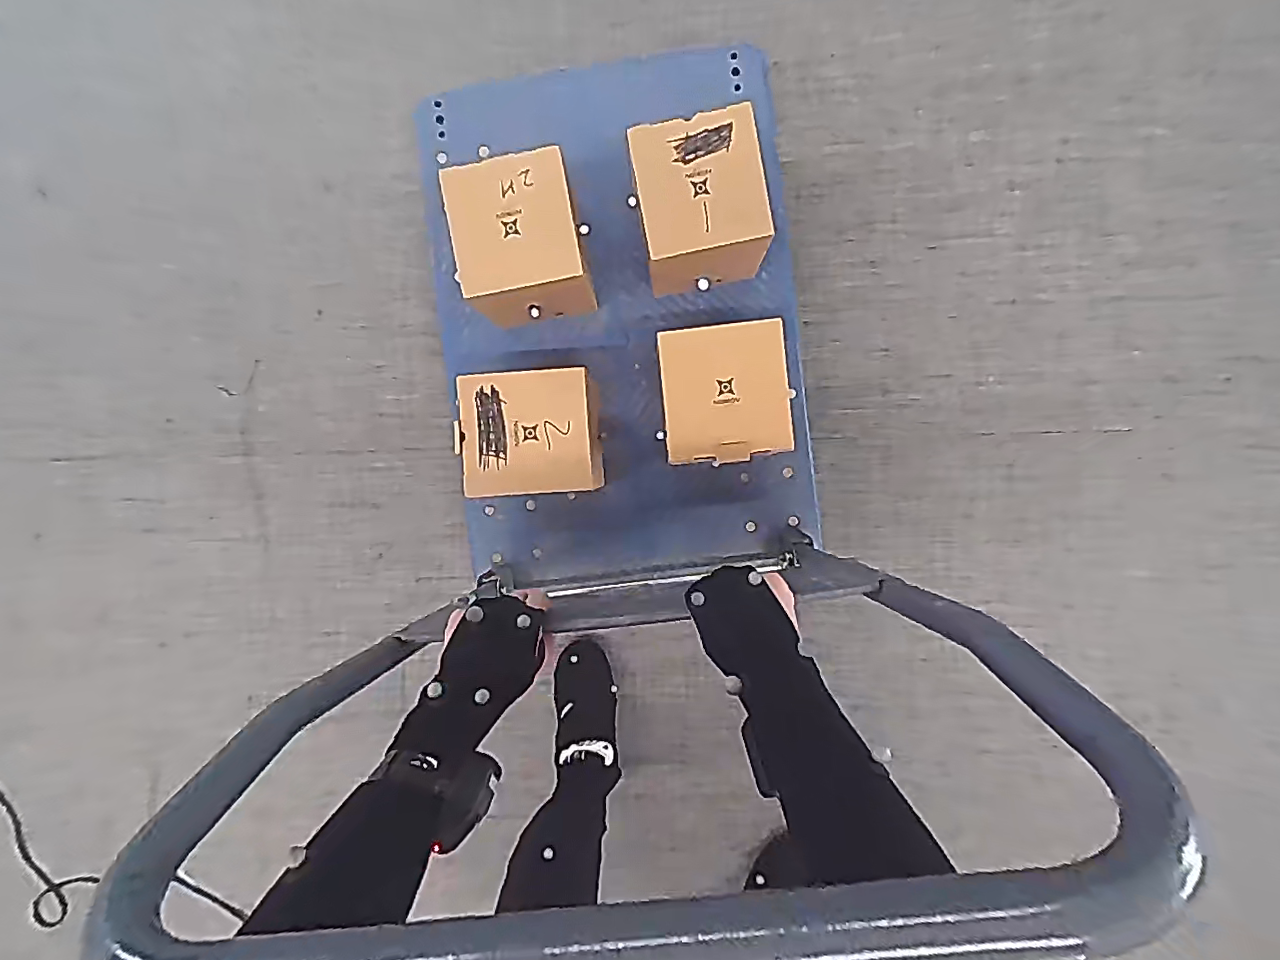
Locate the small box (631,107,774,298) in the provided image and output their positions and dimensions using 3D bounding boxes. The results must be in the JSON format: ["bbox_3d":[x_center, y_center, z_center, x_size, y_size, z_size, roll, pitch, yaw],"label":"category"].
[{"bbox_3d":[0.083,-0.385,0.779,0.168,0.176,0.179,-10,92,4],"label":"small box"}]

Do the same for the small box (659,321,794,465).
[{"bbox_3d":[0.116,-0.116,0.787,0.168,0.176,0.179,-6,92,2],"label":"small box"}]

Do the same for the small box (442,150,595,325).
[{"bbox_3d":[-0.165,-0.337,0.791,0.168,0.176,0.179,-10,91,2],"label":"small box"}]
